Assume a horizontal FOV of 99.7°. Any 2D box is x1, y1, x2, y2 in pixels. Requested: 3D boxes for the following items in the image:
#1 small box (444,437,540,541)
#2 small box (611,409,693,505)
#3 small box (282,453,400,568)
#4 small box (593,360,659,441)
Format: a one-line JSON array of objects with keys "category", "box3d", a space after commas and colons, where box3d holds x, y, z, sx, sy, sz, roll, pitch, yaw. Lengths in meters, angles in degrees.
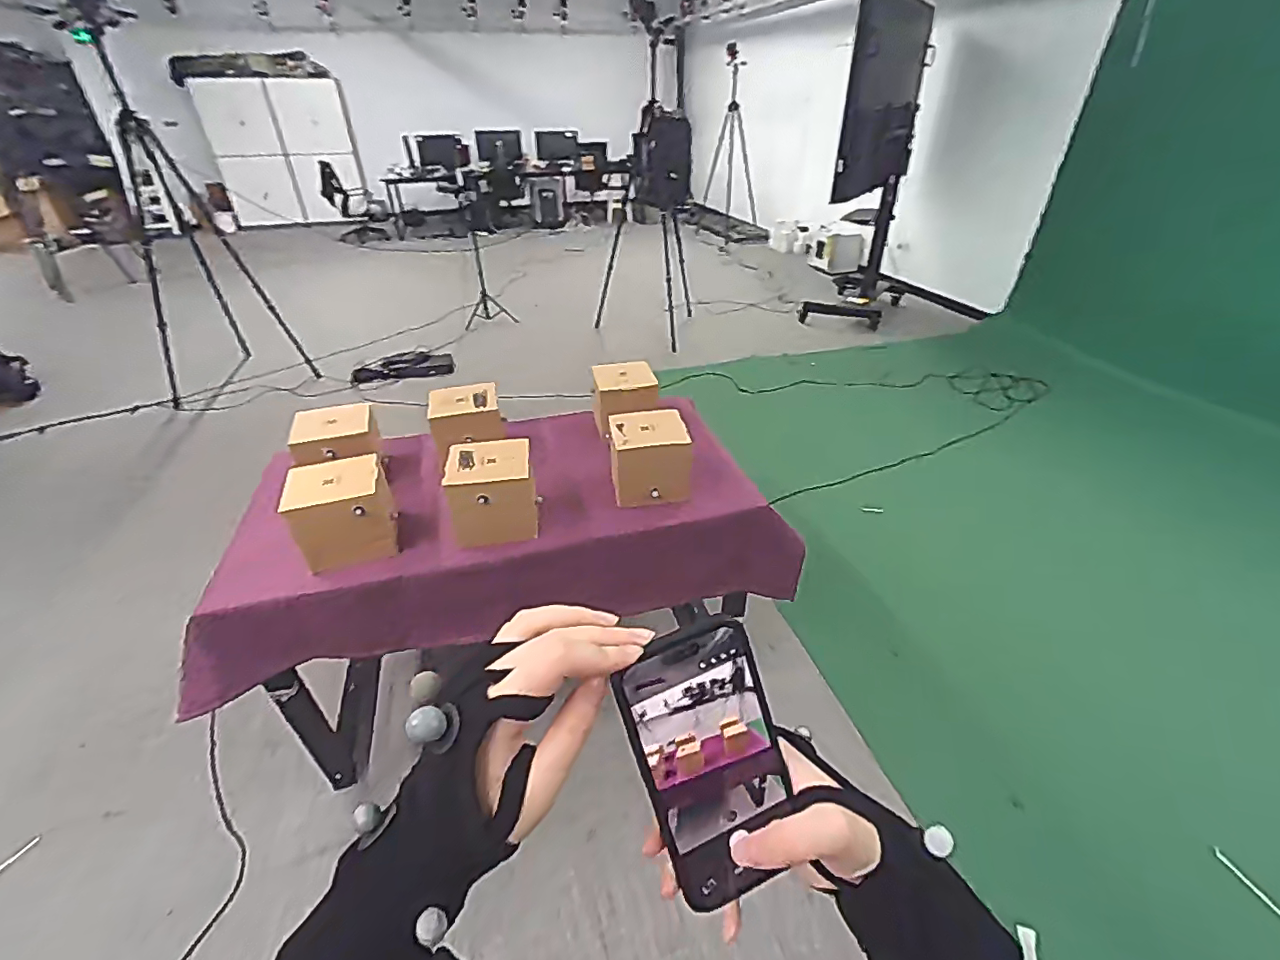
[{"category": "small box", "box3d": [-0.323, 0.022, 1.213, 0.179, 0.176, 0.168, -5, 35, -8]}, {"category": "small box", "box3d": [0.024, -0.056, 1.317, 0.179, 0.176, 0.168, -5, 35, -7]}, {"category": "small box", "box3d": [-0.629, 0.066, 1.159, 0.179, 0.176, 0.168, -12, 36, -18]}, {"category": "small box", "box3d": [-0.043, -0.232, 1.568, 0.168, 0.176, 0.179, -8, 36, -9]}]
